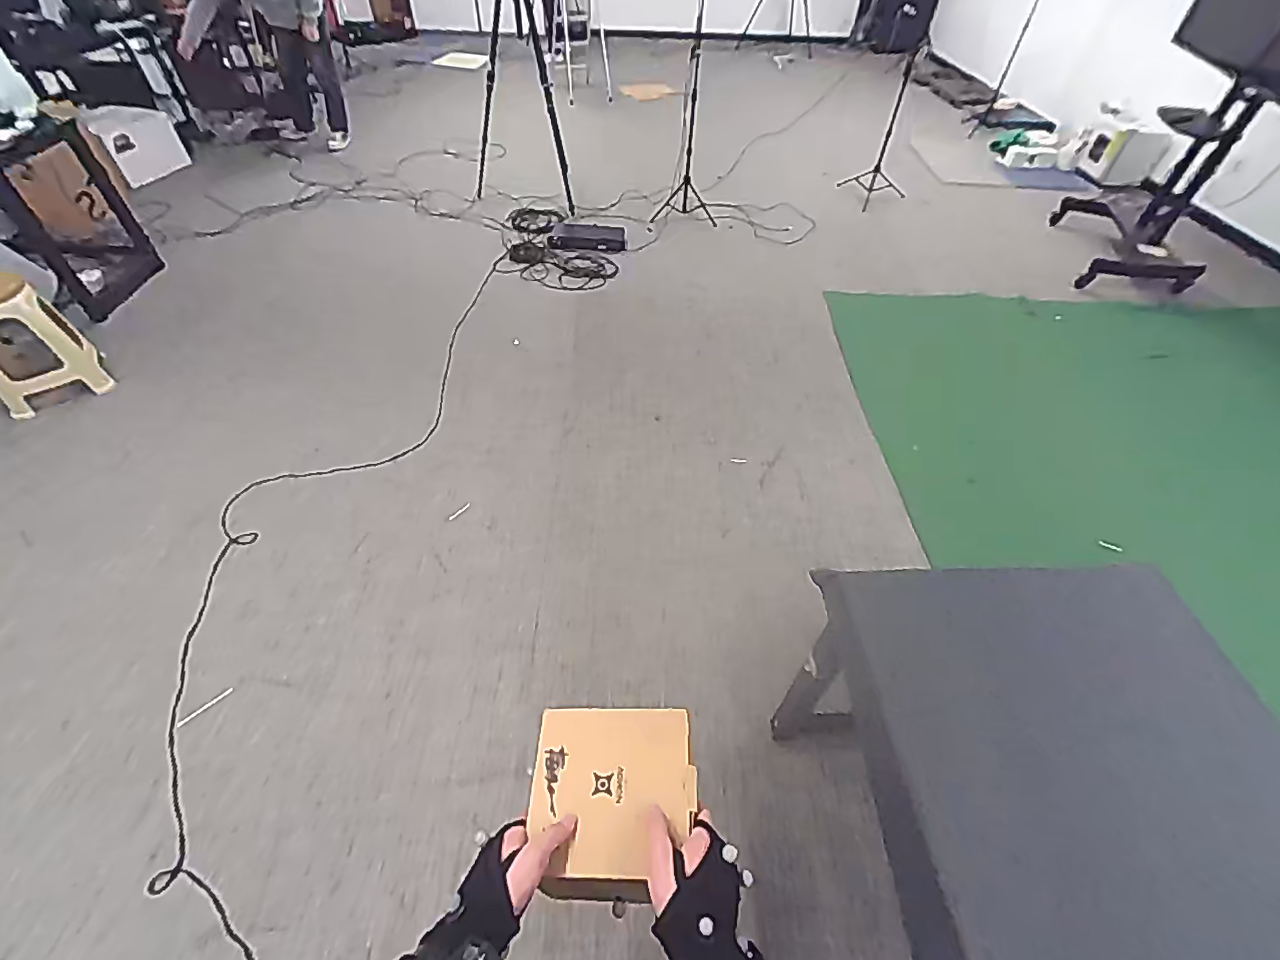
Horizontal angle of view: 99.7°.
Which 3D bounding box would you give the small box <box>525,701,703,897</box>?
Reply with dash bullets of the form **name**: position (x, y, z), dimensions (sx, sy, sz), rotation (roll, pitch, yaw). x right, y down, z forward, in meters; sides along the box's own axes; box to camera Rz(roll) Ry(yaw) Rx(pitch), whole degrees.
- **small box**: position (-0.019, 0.377, 0.637), dimensions (0.179, 0.176, 0.168), rotation (0, 47, 4)
